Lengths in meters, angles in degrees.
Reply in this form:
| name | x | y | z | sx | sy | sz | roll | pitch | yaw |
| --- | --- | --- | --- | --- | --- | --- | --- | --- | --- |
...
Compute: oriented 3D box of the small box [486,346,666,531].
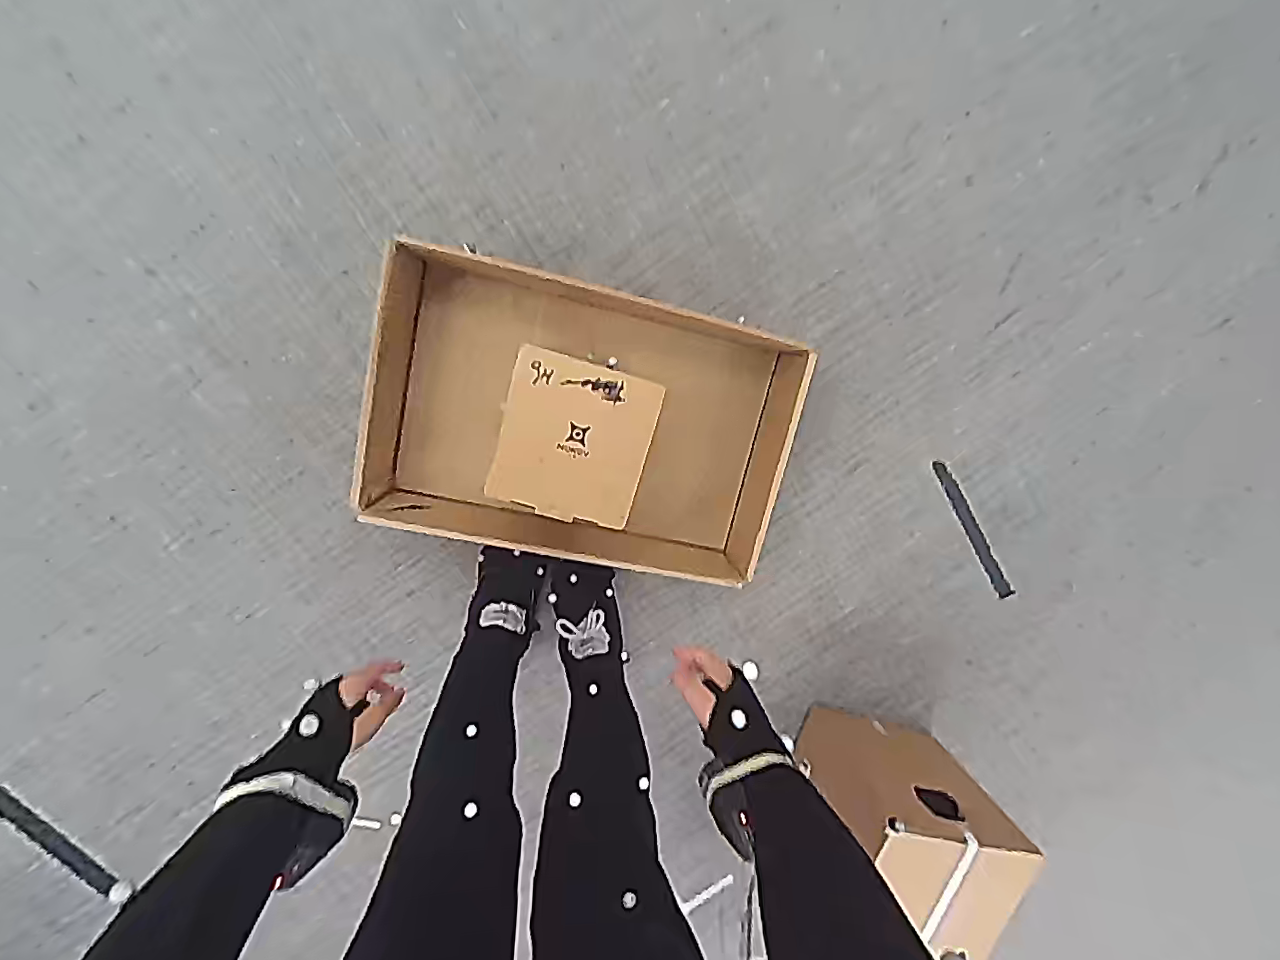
| name | x | y | z | sx | sy | sz | roll | pitch | yaw |
| --- | --- | --- | --- | --- | --- | --- | --- | --- | --- |
| small box | -0.081 | -0.060 | 0.680 | 0.168 | 0.176 | 0.179 | 15 | 101 | -11 |
